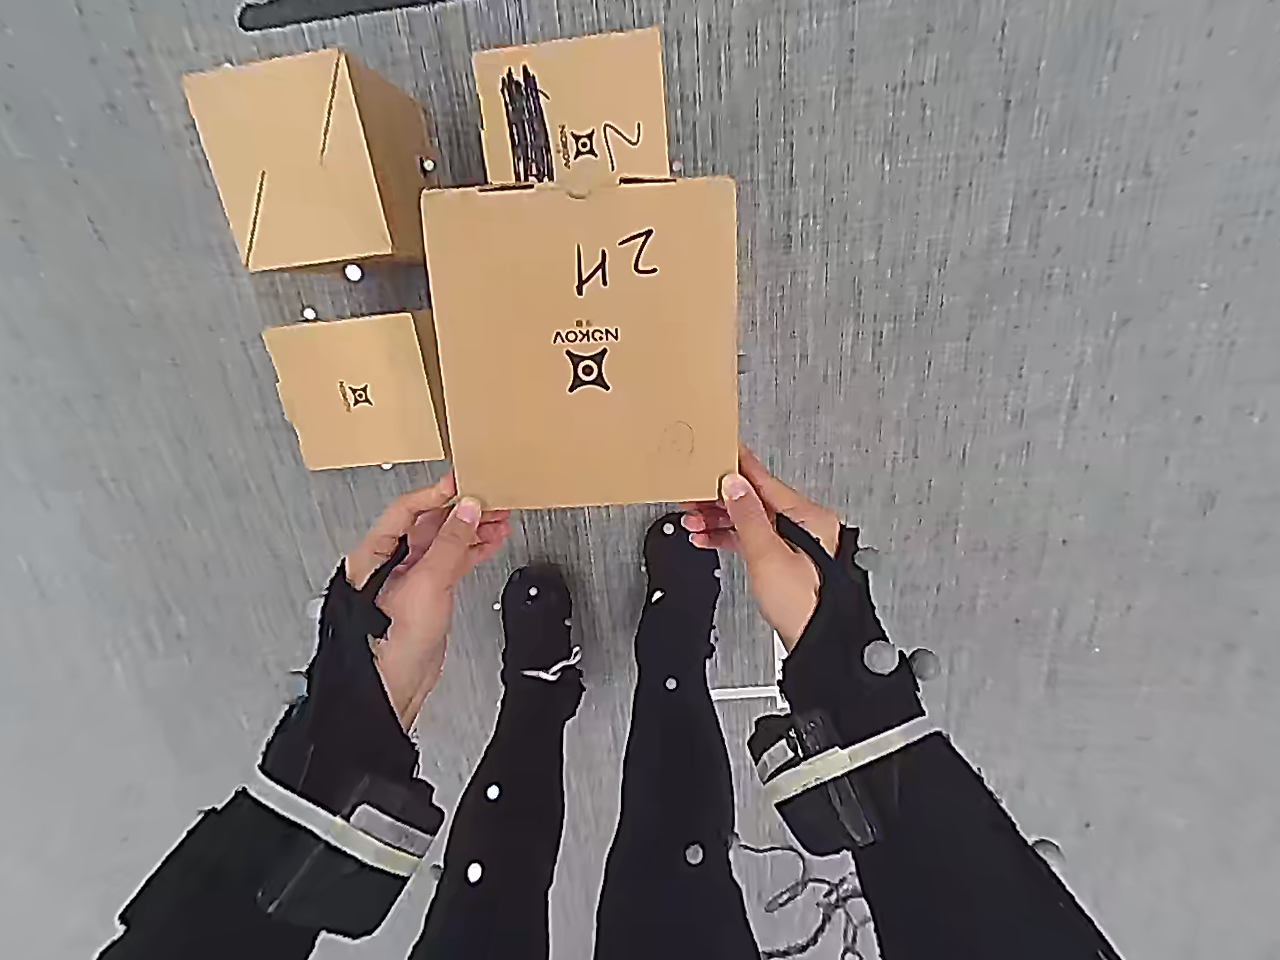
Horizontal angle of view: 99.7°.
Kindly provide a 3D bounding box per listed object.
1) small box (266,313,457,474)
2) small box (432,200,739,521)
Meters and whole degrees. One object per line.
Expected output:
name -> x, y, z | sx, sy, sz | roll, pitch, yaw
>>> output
small box -> -0.310, -0.116, 0.681 | 0.179, 0.176, 0.168 | -4, 109, 6
small box -> -0.027, -0.080, 0.382 | 0.168, 0.176, 0.179 | -2, 103, -1
